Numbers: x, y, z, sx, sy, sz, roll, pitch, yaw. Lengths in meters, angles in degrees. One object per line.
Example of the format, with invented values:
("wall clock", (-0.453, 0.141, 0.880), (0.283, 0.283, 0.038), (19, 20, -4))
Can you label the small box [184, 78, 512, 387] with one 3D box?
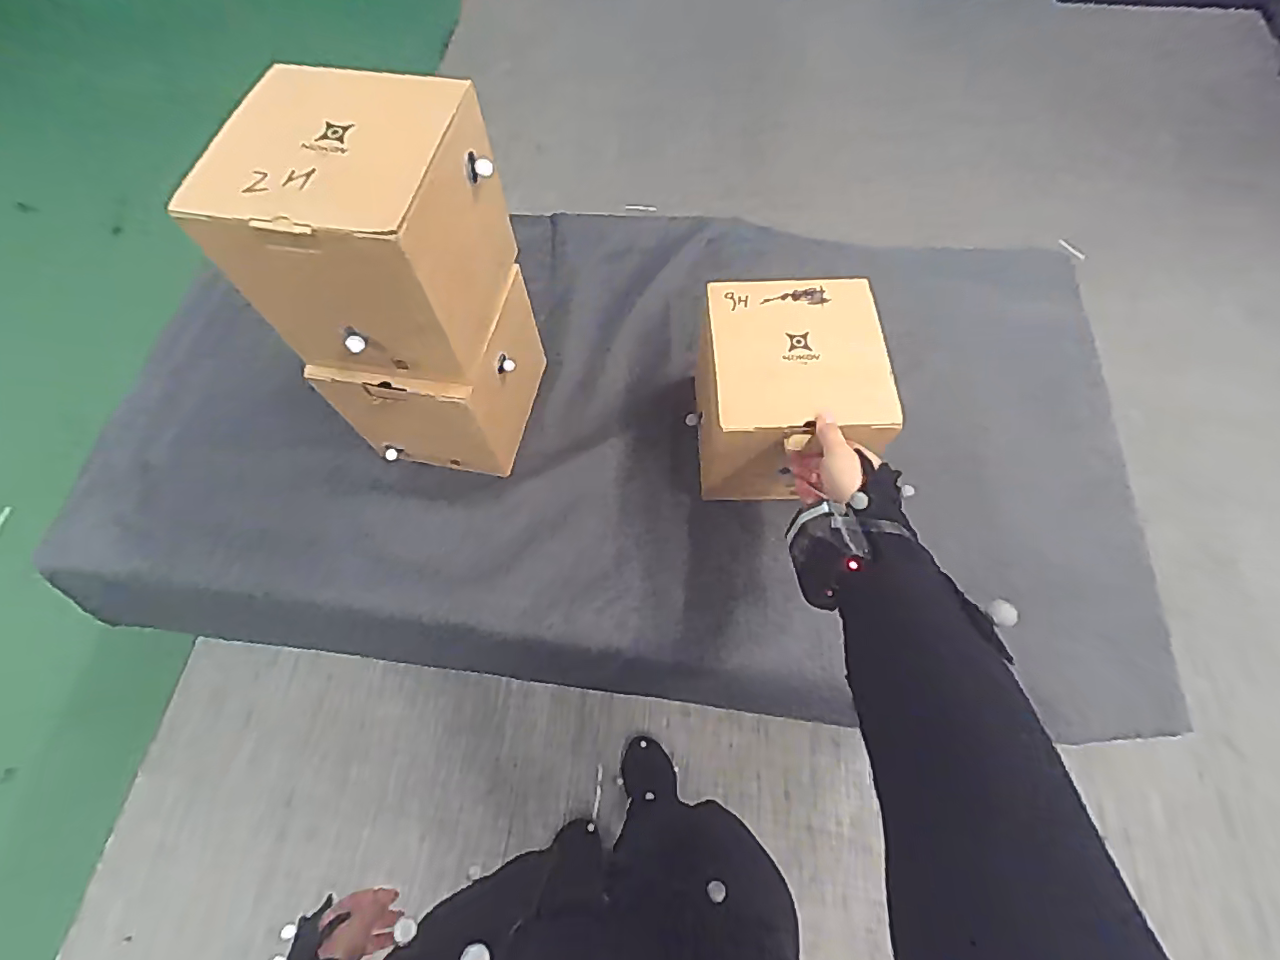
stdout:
("small box", (-0.223, -0.208, 0.476), (0.168, 0.176, 0.179), (8, 65, 5))

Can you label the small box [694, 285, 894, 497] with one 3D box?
("small box", (0.150, -0.086, 0.594), (0.168, 0.176, 0.179), (-1, 65, 0))

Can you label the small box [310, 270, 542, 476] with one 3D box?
("small box", (-0.221, -0.123, 0.618), (0.168, 0.176, 0.179), (10, 64, 5))
